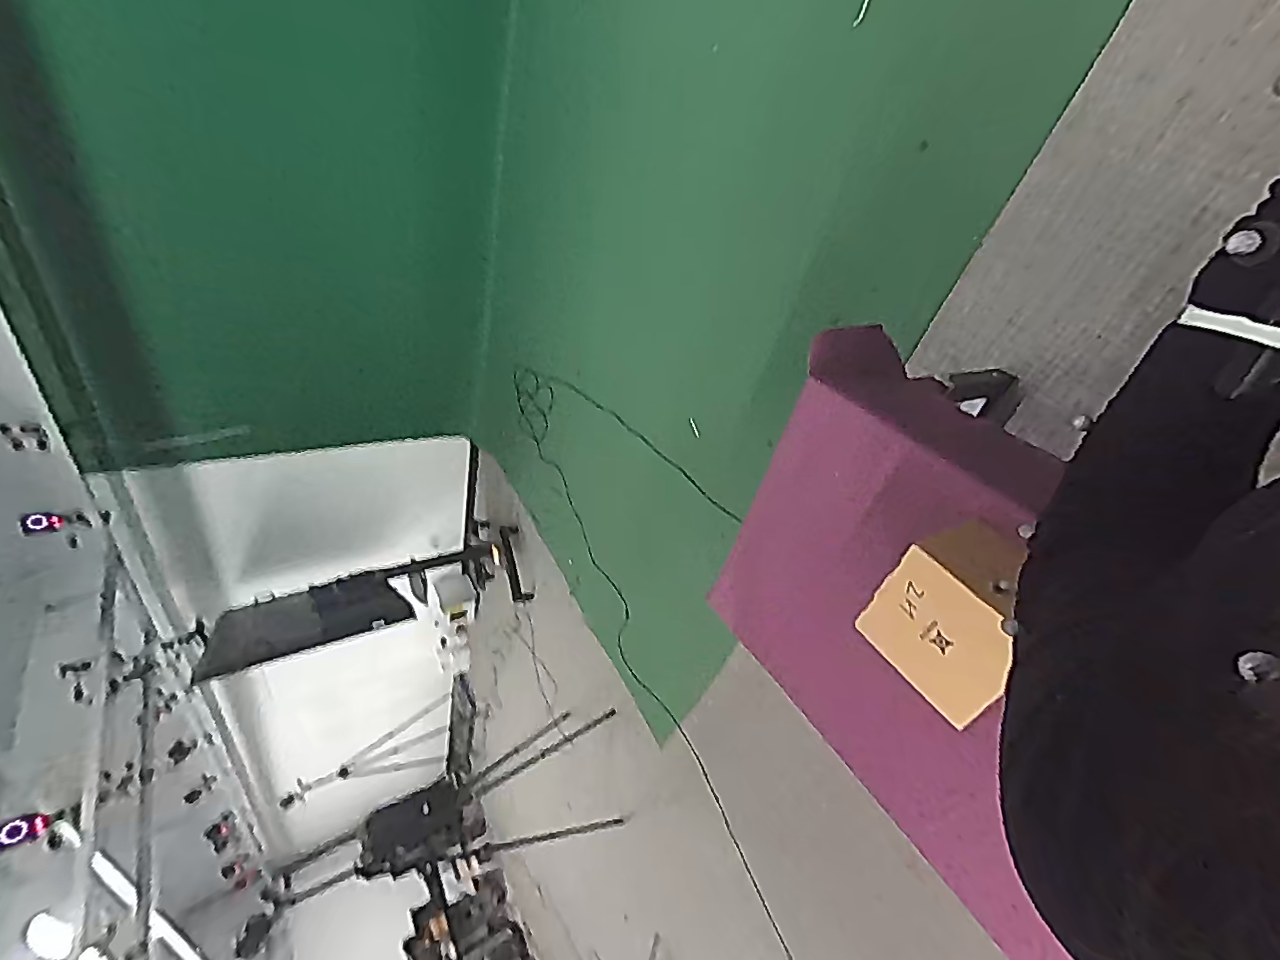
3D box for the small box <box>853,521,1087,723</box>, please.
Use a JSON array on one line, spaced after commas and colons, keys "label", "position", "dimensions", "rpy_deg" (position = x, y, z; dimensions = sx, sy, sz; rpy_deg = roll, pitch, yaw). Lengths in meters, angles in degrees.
[{"label": "small box", "position": [0.433, 0.176, 0.717], "dimensions": [0.179, 0.176, 0.168], "rpy_deg": [50, 136, 37]}]
